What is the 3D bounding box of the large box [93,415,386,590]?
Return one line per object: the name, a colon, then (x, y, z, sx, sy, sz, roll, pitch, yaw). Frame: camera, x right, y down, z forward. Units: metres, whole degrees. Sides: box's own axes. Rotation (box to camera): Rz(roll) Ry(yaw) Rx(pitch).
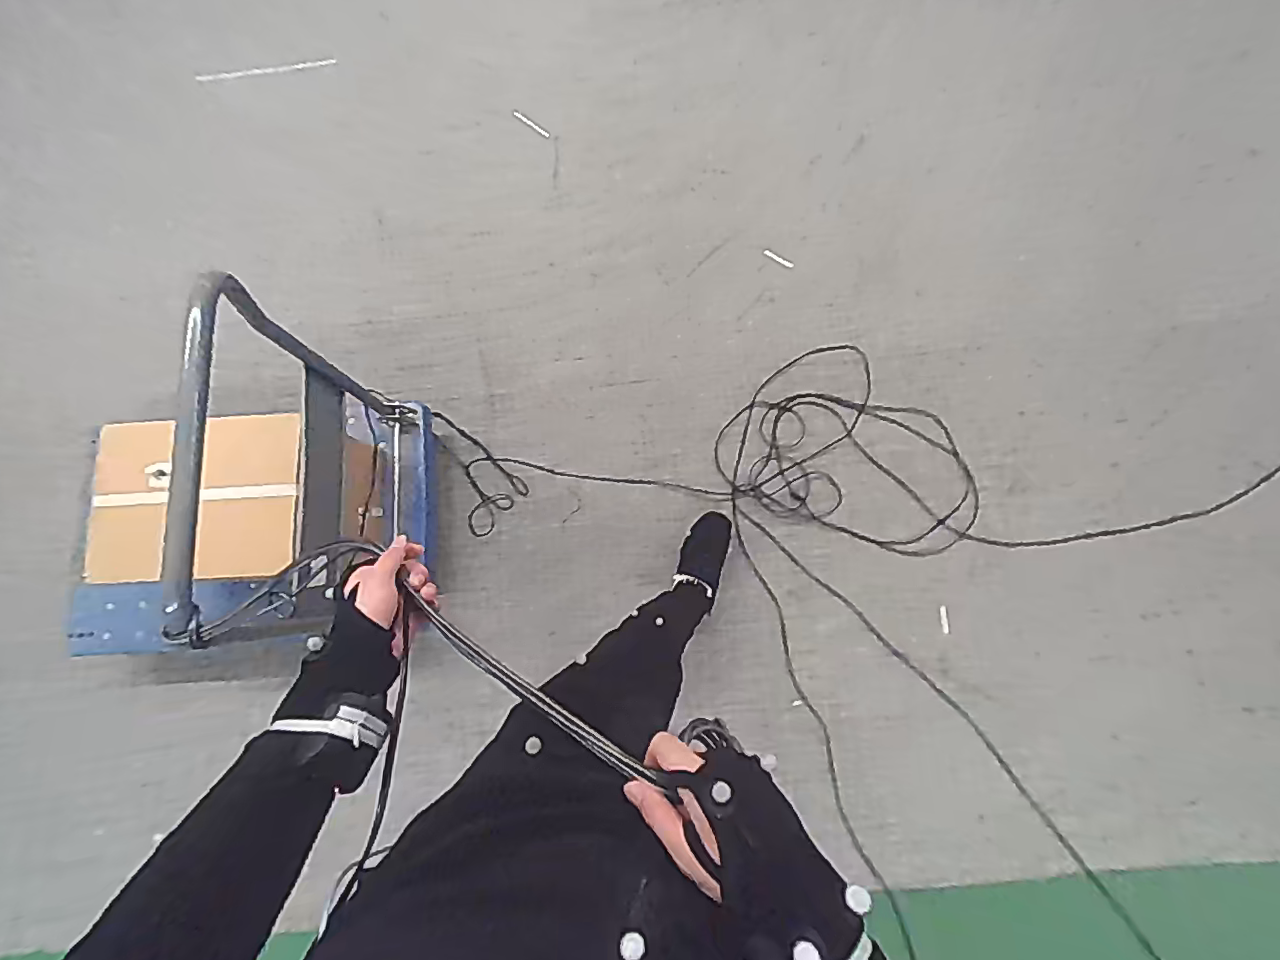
large box: (-0.813, 0.063, 1.161, 0.408, 0.320, 0.320, -3, 79, 2)
